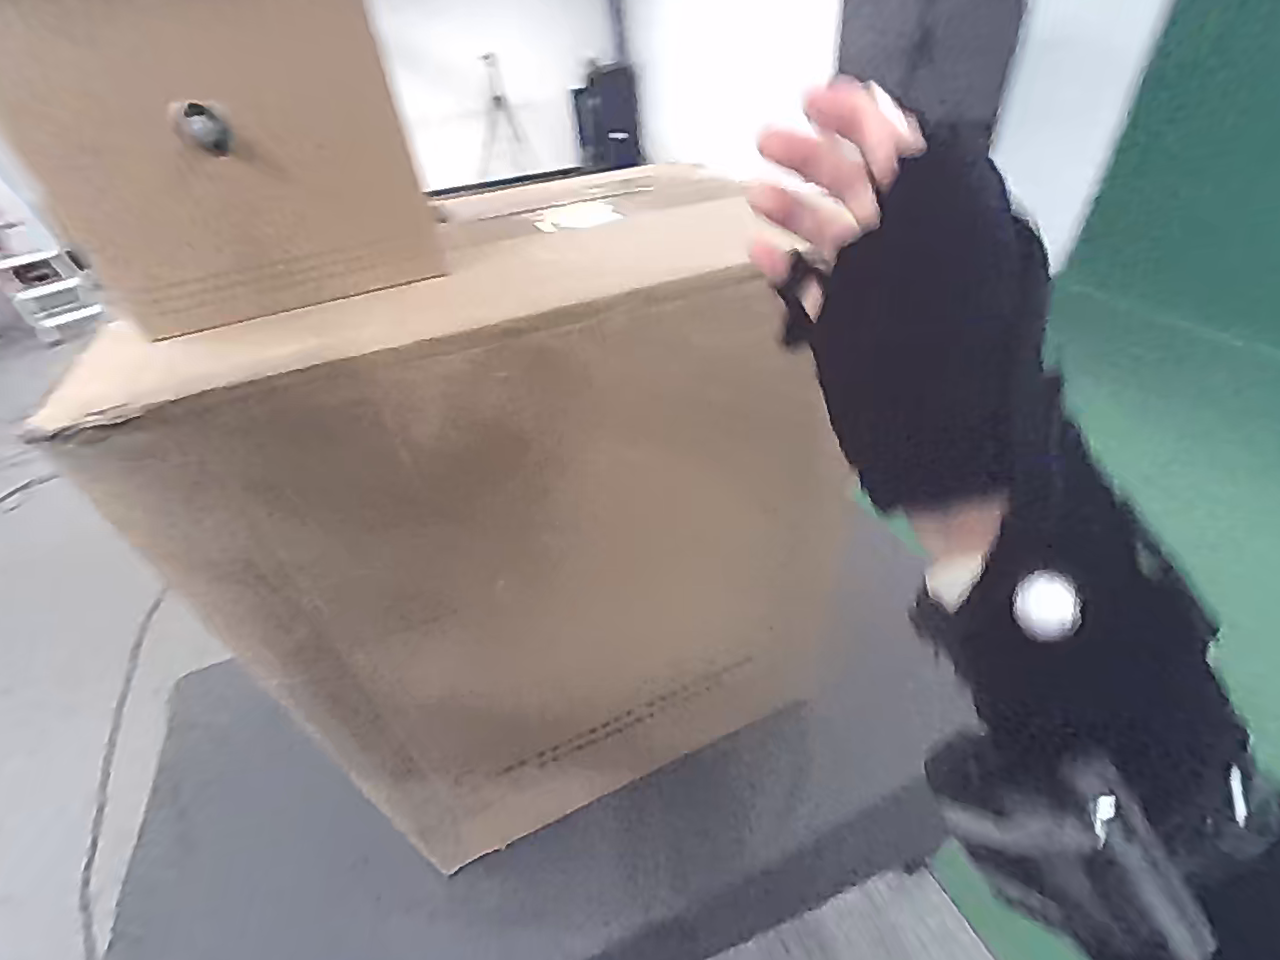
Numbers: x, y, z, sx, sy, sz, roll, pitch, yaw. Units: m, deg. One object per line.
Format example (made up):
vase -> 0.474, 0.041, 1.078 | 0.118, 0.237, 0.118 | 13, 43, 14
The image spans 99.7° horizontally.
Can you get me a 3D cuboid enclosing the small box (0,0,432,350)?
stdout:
small box -> -0.249, -0.208, 0.344 | 0.179, 0.176, 0.168 | -23, 43, -16
